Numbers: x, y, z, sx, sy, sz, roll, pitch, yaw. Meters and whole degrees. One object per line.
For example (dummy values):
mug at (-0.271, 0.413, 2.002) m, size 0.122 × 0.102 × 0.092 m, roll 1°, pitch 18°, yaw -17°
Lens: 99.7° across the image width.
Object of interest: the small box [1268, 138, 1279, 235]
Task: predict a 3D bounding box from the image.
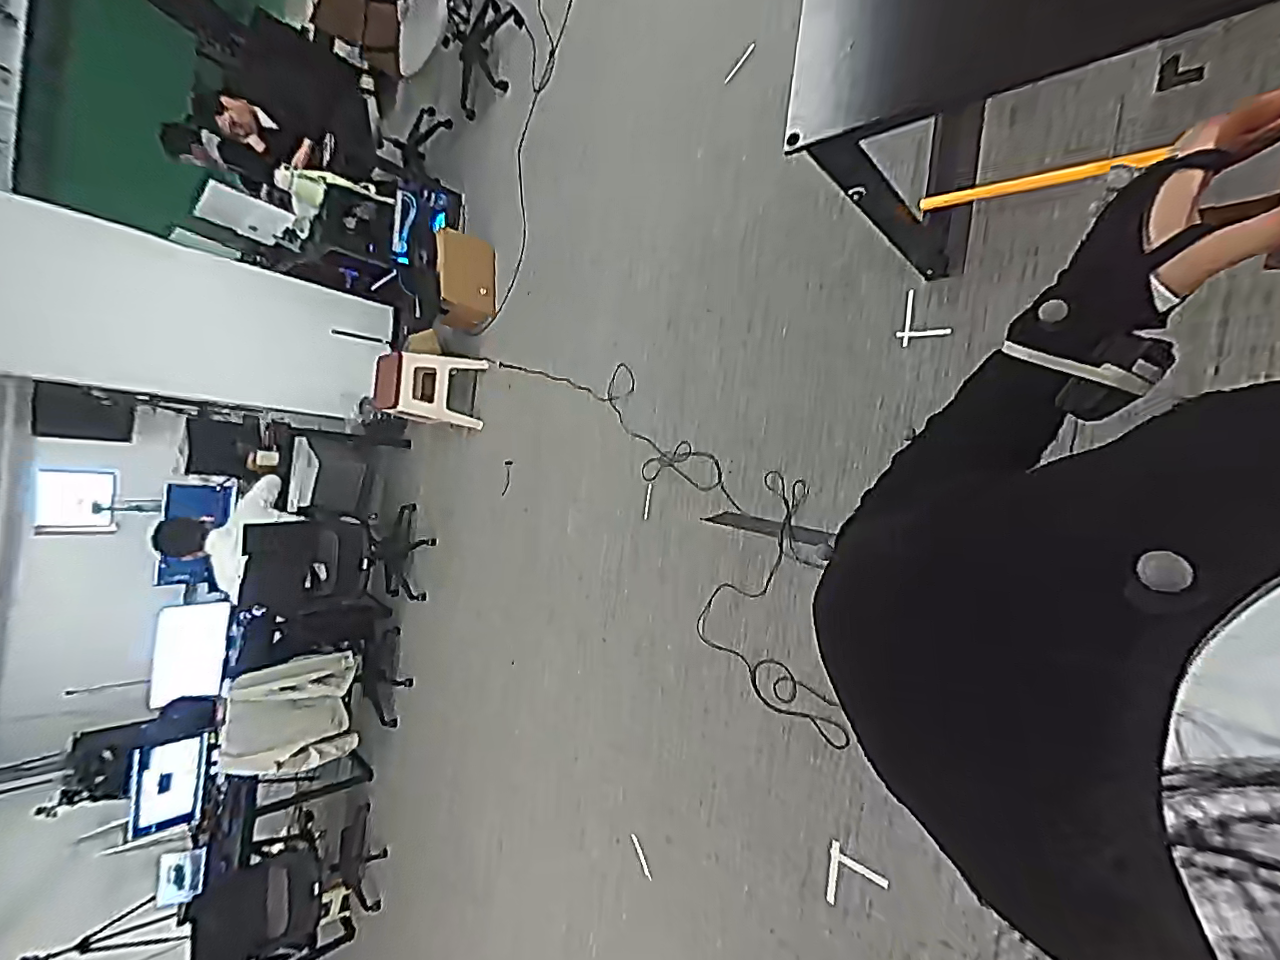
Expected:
small box at (0.454, -0.242, 0.267) m, size 0.168 × 0.176 × 0.179 m, roll 11°, pitch 94°, yaw 45°
